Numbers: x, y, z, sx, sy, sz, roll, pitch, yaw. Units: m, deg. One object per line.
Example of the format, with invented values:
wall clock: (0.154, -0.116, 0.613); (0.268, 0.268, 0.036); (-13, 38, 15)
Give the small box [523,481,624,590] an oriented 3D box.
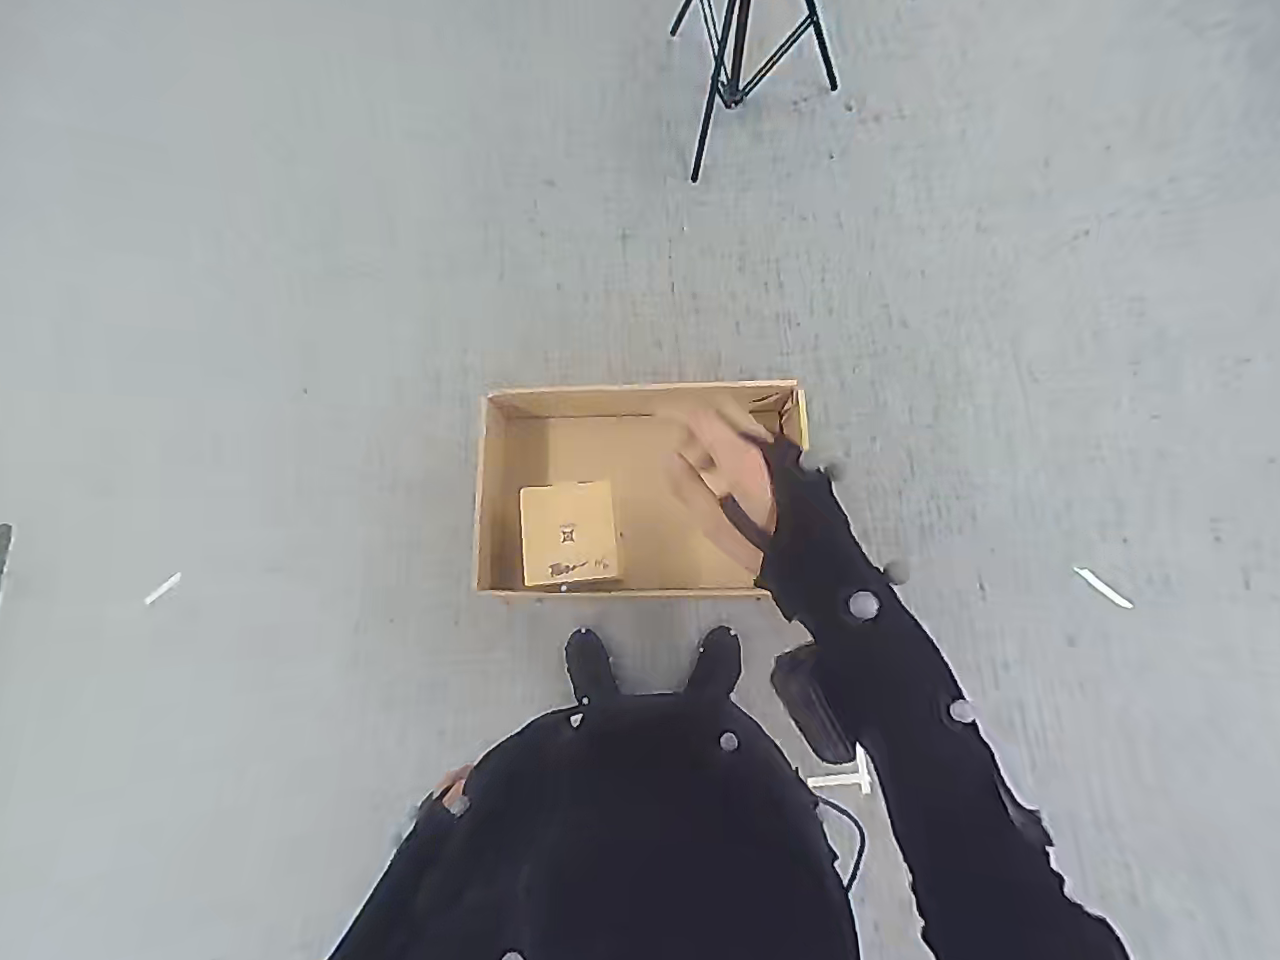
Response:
small box: (-0.122, 0.111, 1.028); (0.168, 0.176, 0.179); (-6, 76, 2)
